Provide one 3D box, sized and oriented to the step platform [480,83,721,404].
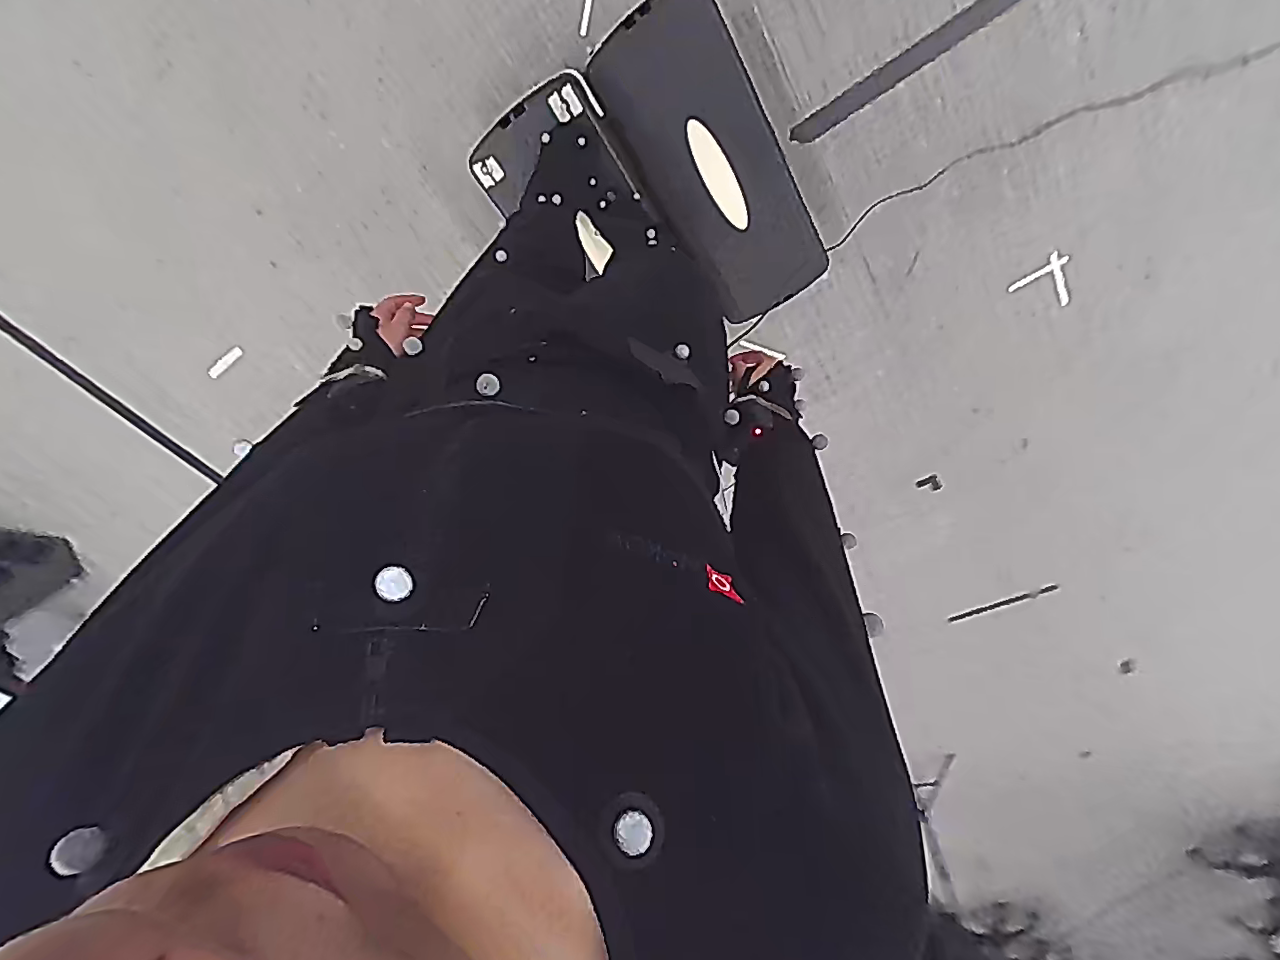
[{"bbox_3d":[-0.065,-0.516,1.282,0.286,0.204,0.684,-25,119,17],"label":"step platform"}]
